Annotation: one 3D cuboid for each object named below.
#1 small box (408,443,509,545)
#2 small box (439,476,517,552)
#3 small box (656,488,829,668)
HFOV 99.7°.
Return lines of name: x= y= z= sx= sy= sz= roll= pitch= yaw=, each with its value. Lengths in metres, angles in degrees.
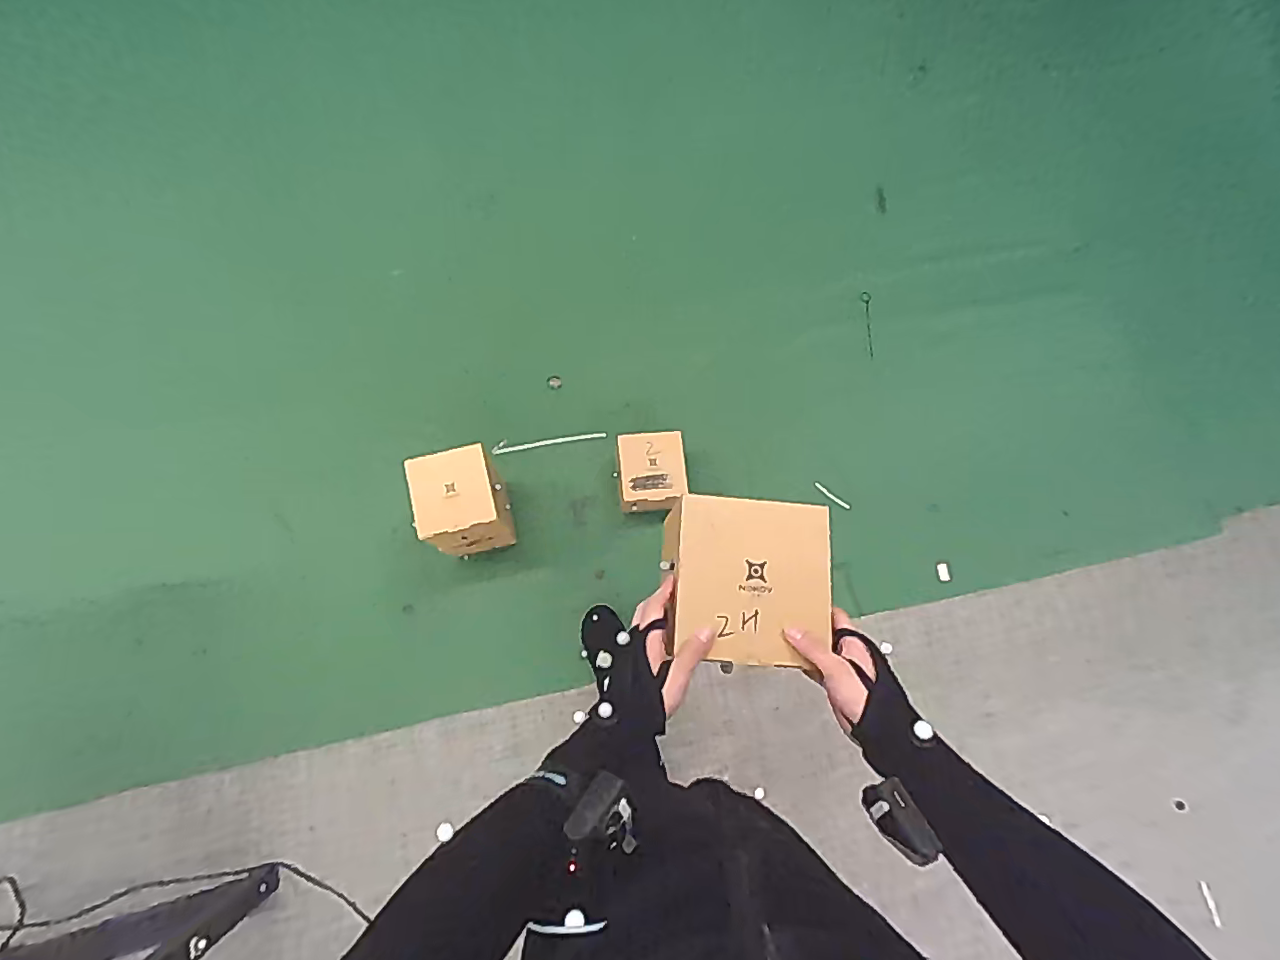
small box: x=-0.402 y=0.036 z=1.220 sx=0.168 sy=0.176 sz=0.179 roll=-14 pitch=79 yaw=-8
small box: x=-0.417 y=0.082 z=1.375 sx=0.168 sy=0.176 sz=0.179 roll=-13 pitch=77 yaw=-8
small box: x=0.113 y=0.120 z=0.650 sx=0.168 sy=0.176 sz=0.179 roll=6 pitch=76 yaw=-3
